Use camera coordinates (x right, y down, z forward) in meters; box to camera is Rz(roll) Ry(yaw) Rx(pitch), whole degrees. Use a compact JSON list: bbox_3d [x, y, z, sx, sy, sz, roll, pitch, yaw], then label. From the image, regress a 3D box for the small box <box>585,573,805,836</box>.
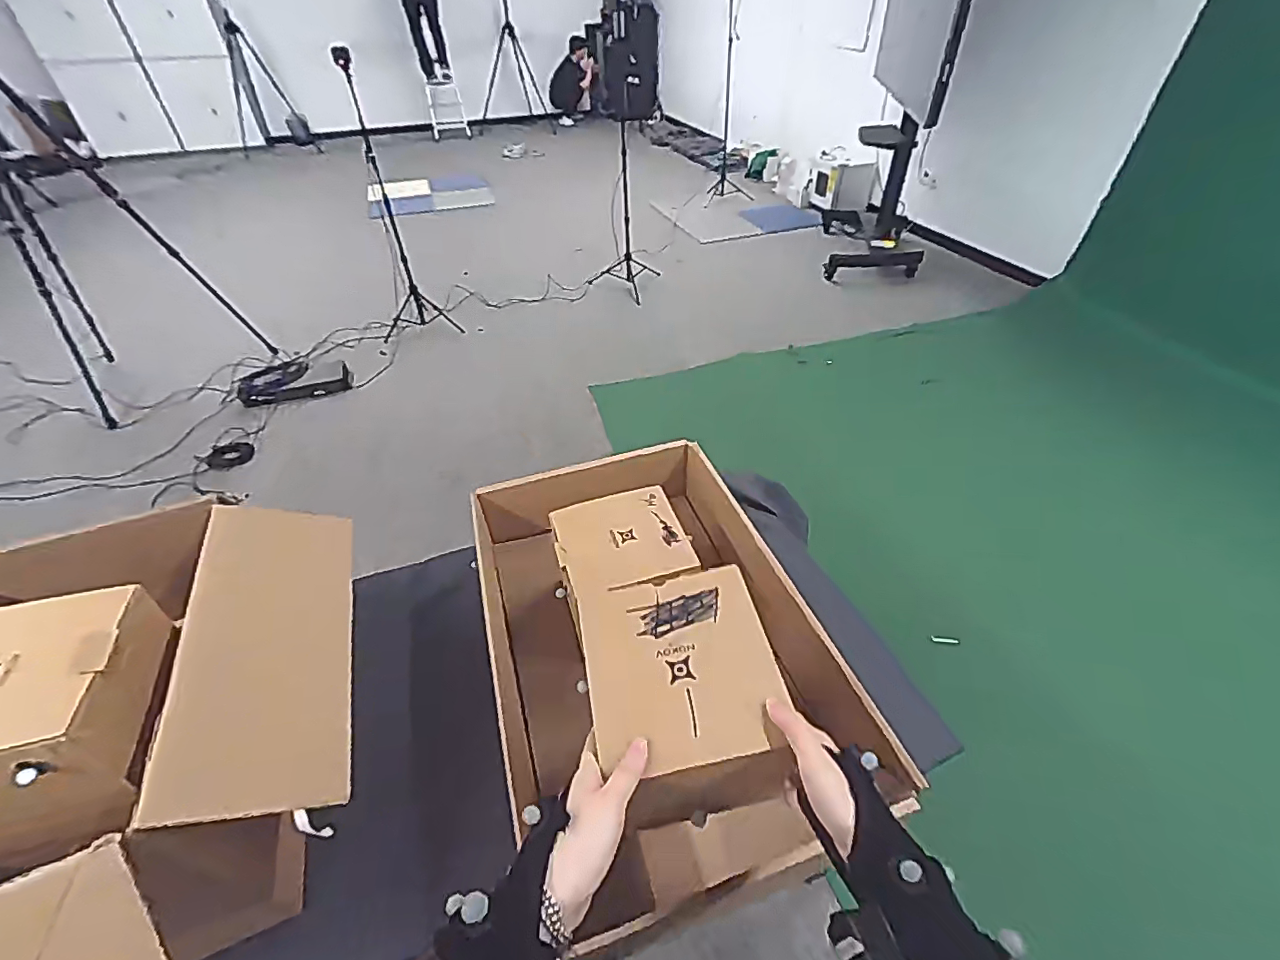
[{"bbox_3d":[0.041,0.222,0.539,0.168,0.176,0.179,-10,46,-6],"label":"small box"}]
